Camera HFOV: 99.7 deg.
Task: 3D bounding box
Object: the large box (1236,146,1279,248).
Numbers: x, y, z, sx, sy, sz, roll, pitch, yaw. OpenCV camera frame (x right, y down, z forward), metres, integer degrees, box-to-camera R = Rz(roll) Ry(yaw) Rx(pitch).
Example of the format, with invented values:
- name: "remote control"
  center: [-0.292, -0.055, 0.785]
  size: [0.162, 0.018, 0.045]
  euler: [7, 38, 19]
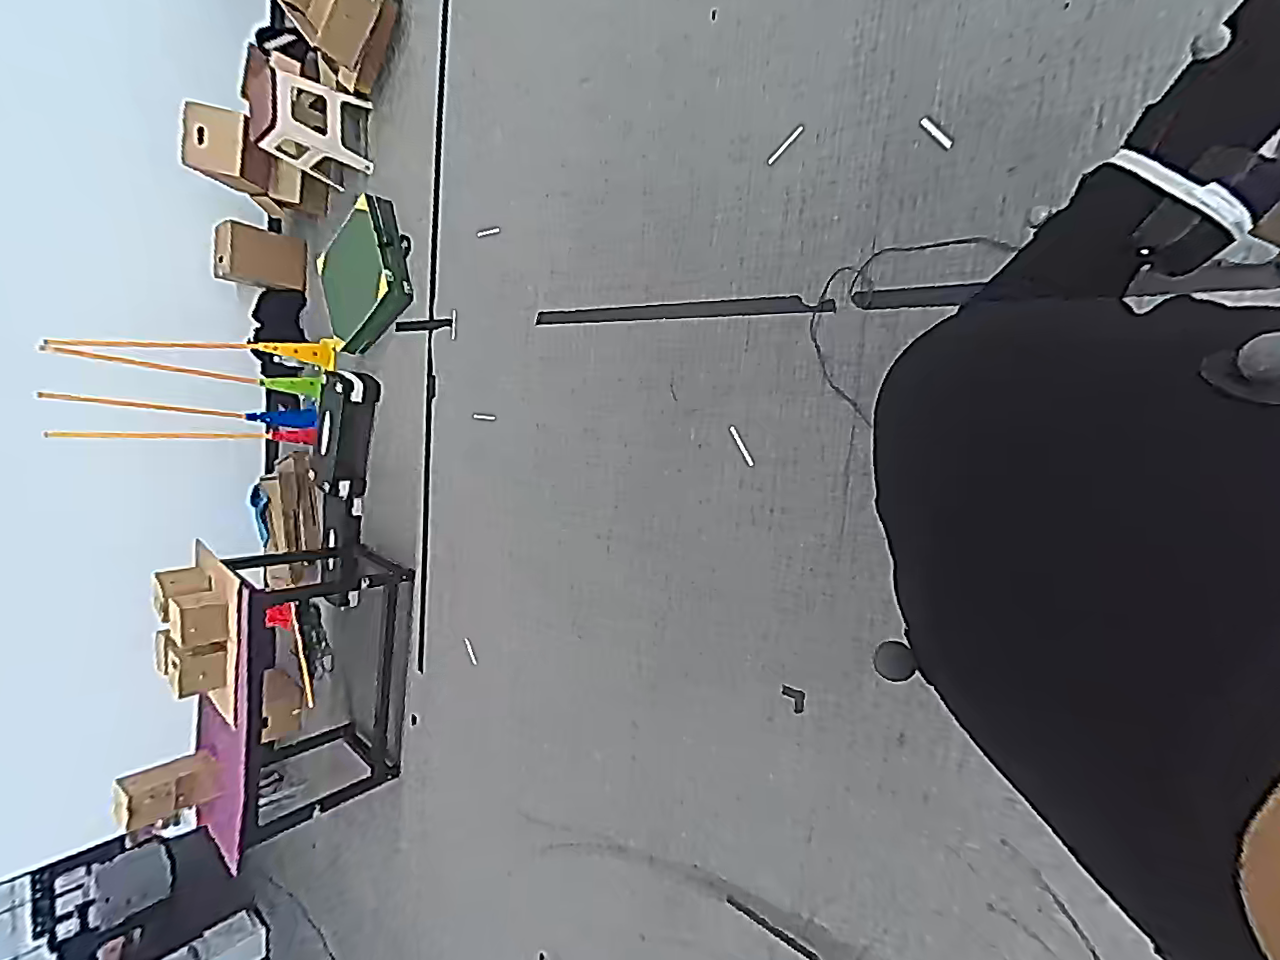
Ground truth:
- name: "large box"
  center: [0.646, -0.204, 0.242]
  size: [0.408, 0.320, 0.320]
  euler: [49, 127, 26]
